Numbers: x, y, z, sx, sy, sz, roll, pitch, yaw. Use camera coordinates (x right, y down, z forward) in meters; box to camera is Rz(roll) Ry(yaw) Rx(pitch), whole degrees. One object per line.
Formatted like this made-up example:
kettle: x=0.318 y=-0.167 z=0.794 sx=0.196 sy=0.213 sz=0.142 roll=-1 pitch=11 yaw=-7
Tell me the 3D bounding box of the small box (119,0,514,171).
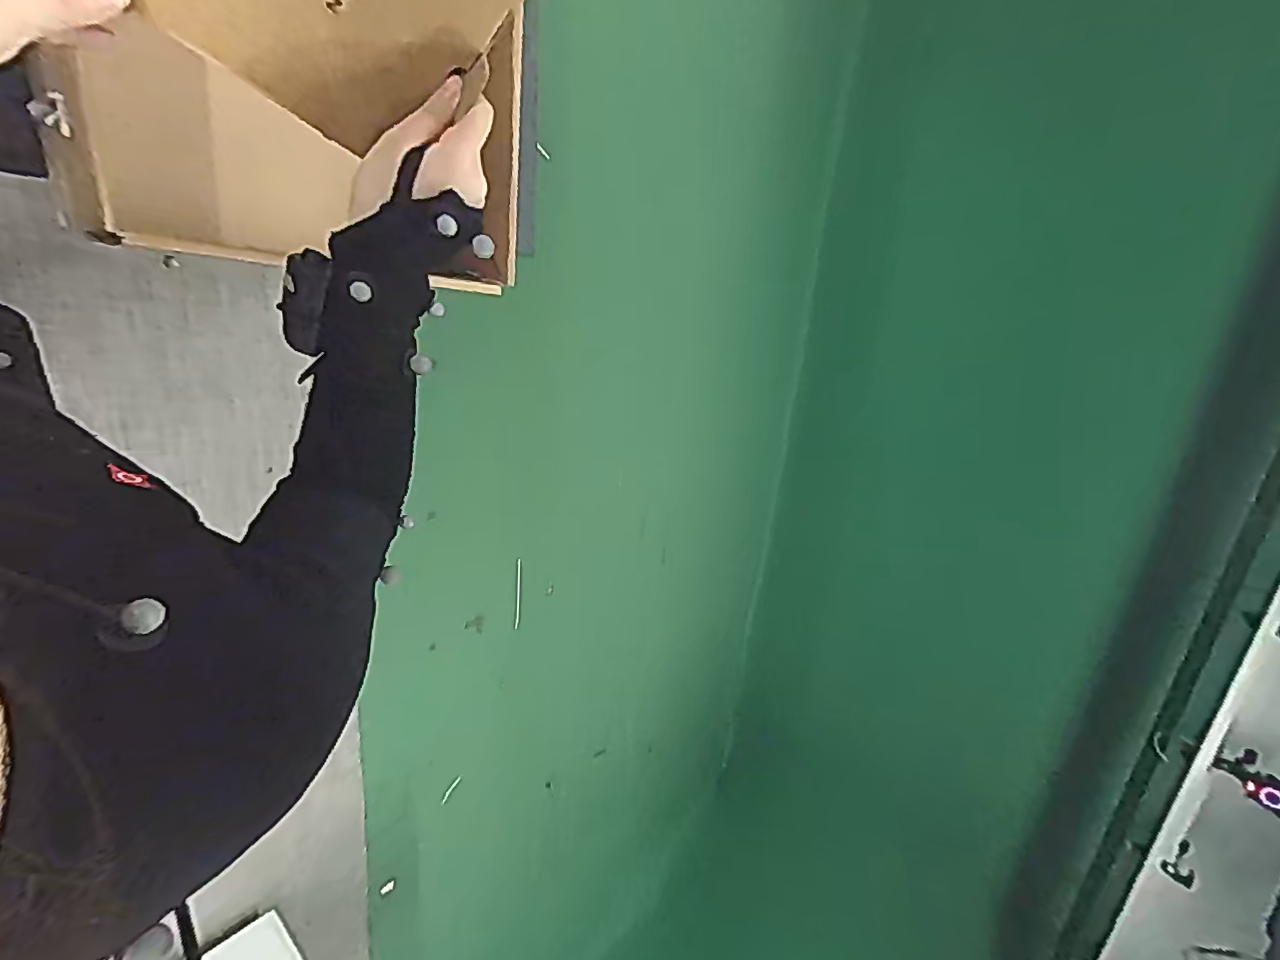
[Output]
small box: x=-0.191 y=-0.337 z=0.309 sx=0.179 sy=0.168 sz=0.176 roll=17 pitch=48 yaw=-51
